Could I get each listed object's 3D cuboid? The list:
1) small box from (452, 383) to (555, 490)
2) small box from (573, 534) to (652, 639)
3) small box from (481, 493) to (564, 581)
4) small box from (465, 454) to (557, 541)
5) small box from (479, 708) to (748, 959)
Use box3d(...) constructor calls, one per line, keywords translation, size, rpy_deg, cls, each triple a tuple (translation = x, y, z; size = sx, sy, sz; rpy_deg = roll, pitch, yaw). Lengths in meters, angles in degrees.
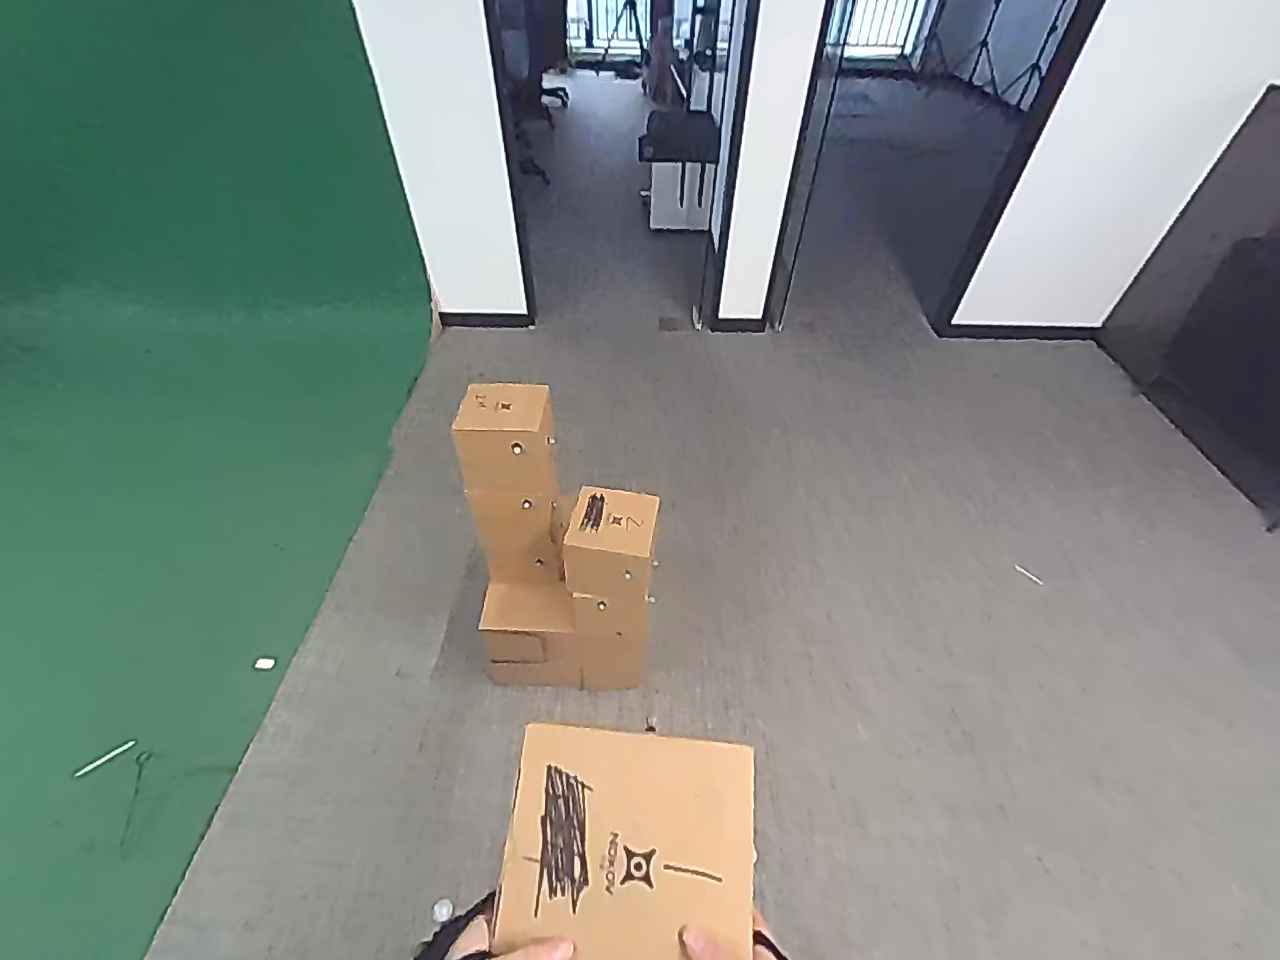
box3d(translation=(-0.284, -0.092, 1.172), size=(0.179, 0.176, 0.168), rpy_deg=(2, 43, 0), cls="small box")
box3d(translation=(-0.063, 0.254, 1.291), size=(0.168, 0.176, 0.179), rpy_deg=(5, 44, 2), cls="small box")
box3d(translation=(-0.293, 0.148, 1.394), size=(0.179, 0.176, 0.168), rpy_deg=(-1, 43, -1), cls="small box")
box3d(translation=(-0.297, 0.030, 1.283), size=(0.179, 0.176, 0.168), rpy_deg=(1, 43, -2), cls="small box")
box3d(translation=(-0.009, 0.292, 0.454), size=(0.179, 0.176, 0.168), rpy_deg=(4, 66, 5), cls="small box")
